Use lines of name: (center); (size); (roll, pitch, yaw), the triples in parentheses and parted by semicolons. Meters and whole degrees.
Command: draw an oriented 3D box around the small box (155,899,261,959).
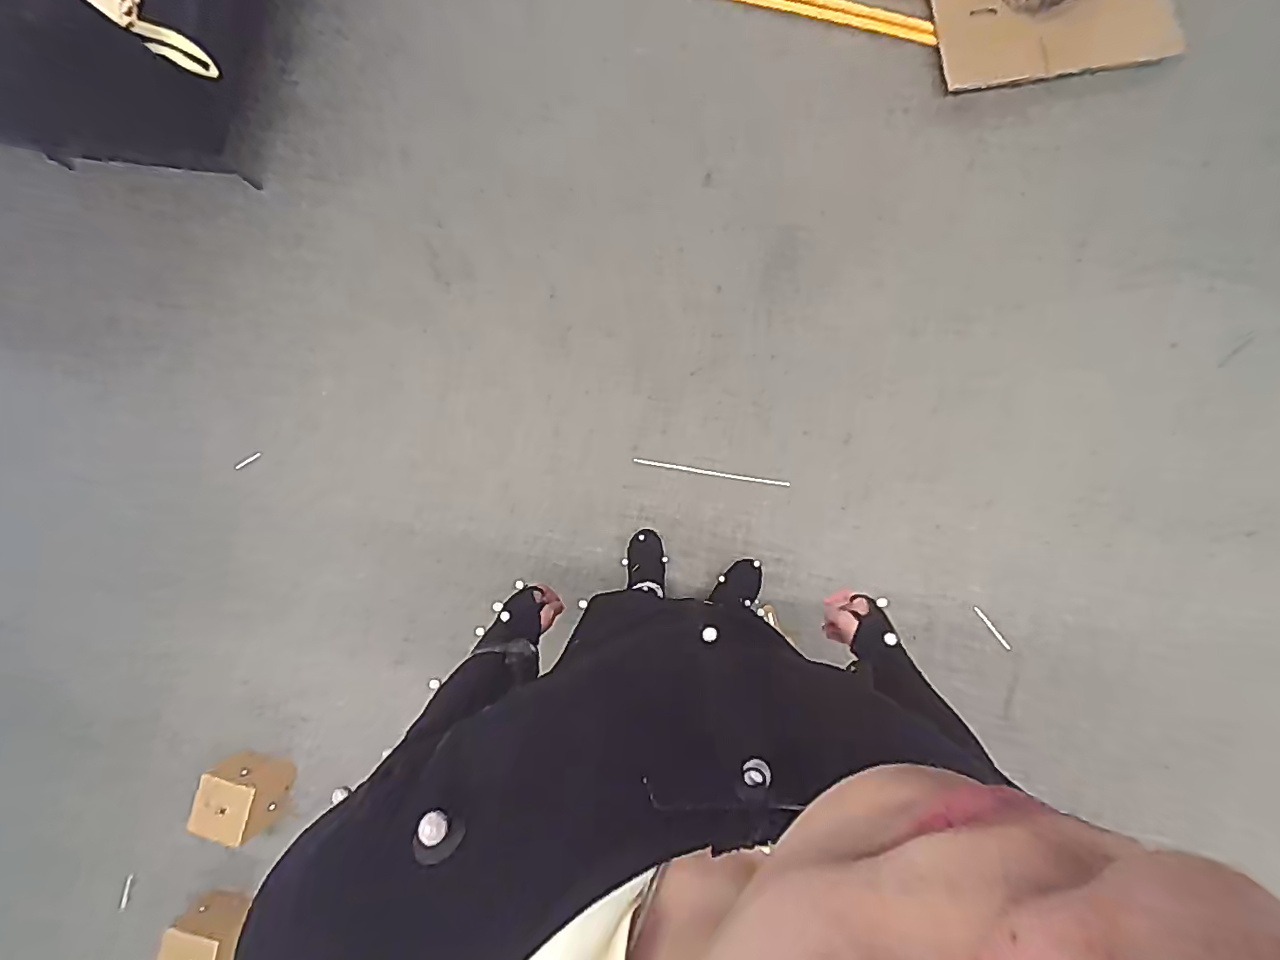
small box: (-1.254, 1.361, 1.563); (0.179, 0.176, 0.168); (9, 85, 7)

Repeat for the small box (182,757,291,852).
small box: (-1.183, 0.950, 1.601); (0.179, 0.176, 0.168); (13, 85, 7)
